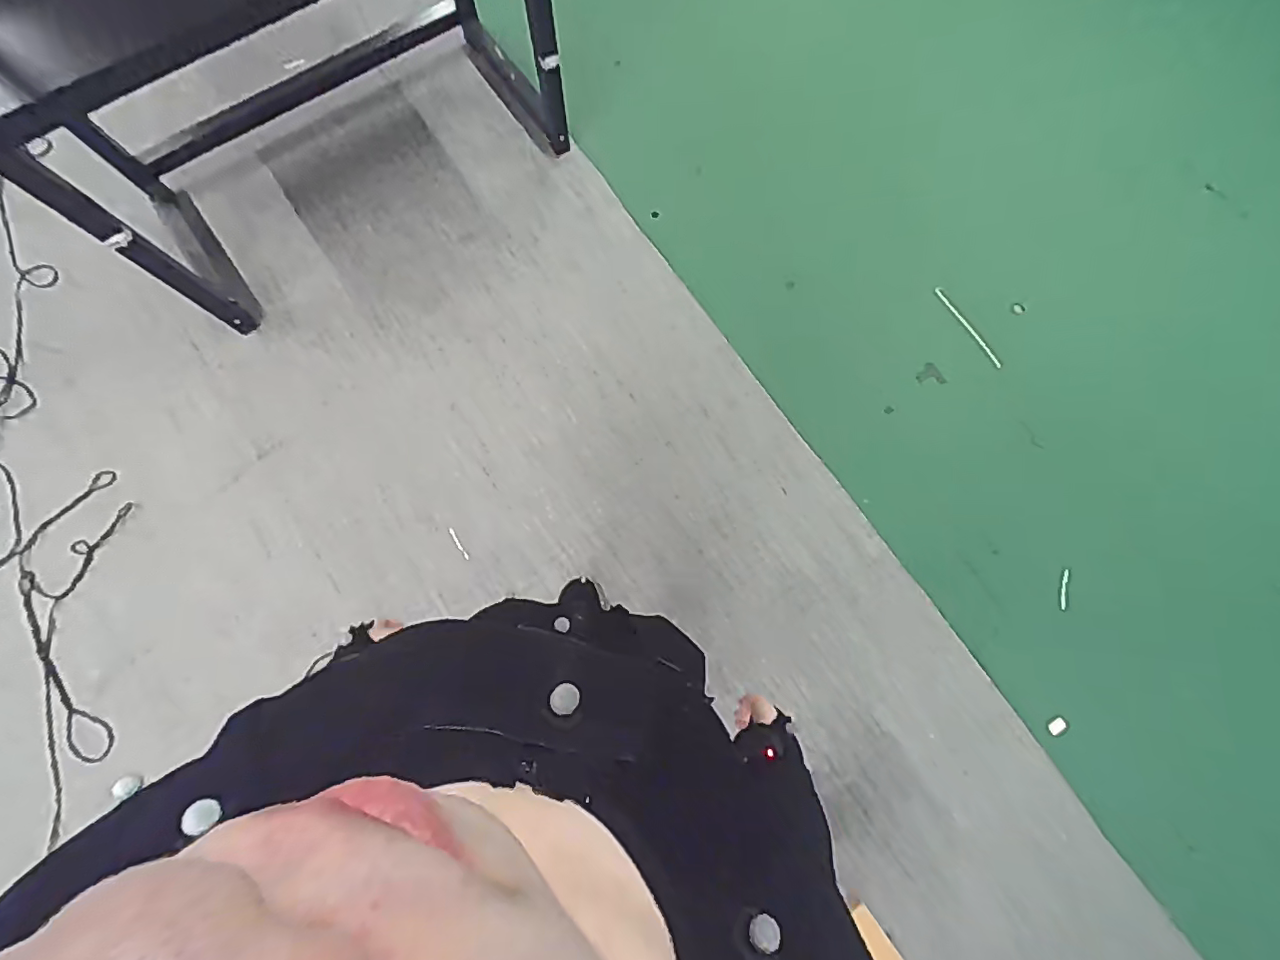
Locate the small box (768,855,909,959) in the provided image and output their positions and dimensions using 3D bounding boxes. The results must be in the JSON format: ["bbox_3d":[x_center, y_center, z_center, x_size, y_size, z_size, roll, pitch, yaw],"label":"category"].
[{"bbox_3d":[0.368,0.852,0.999,0.168,0.176,0.179,-36,82,-10],"label":"small box"}]

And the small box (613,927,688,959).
[{"bbox_3d":[0.041,1.087,1.107,0.168,0.176,0.179,-30,81,-8],"label":"small box"}]
